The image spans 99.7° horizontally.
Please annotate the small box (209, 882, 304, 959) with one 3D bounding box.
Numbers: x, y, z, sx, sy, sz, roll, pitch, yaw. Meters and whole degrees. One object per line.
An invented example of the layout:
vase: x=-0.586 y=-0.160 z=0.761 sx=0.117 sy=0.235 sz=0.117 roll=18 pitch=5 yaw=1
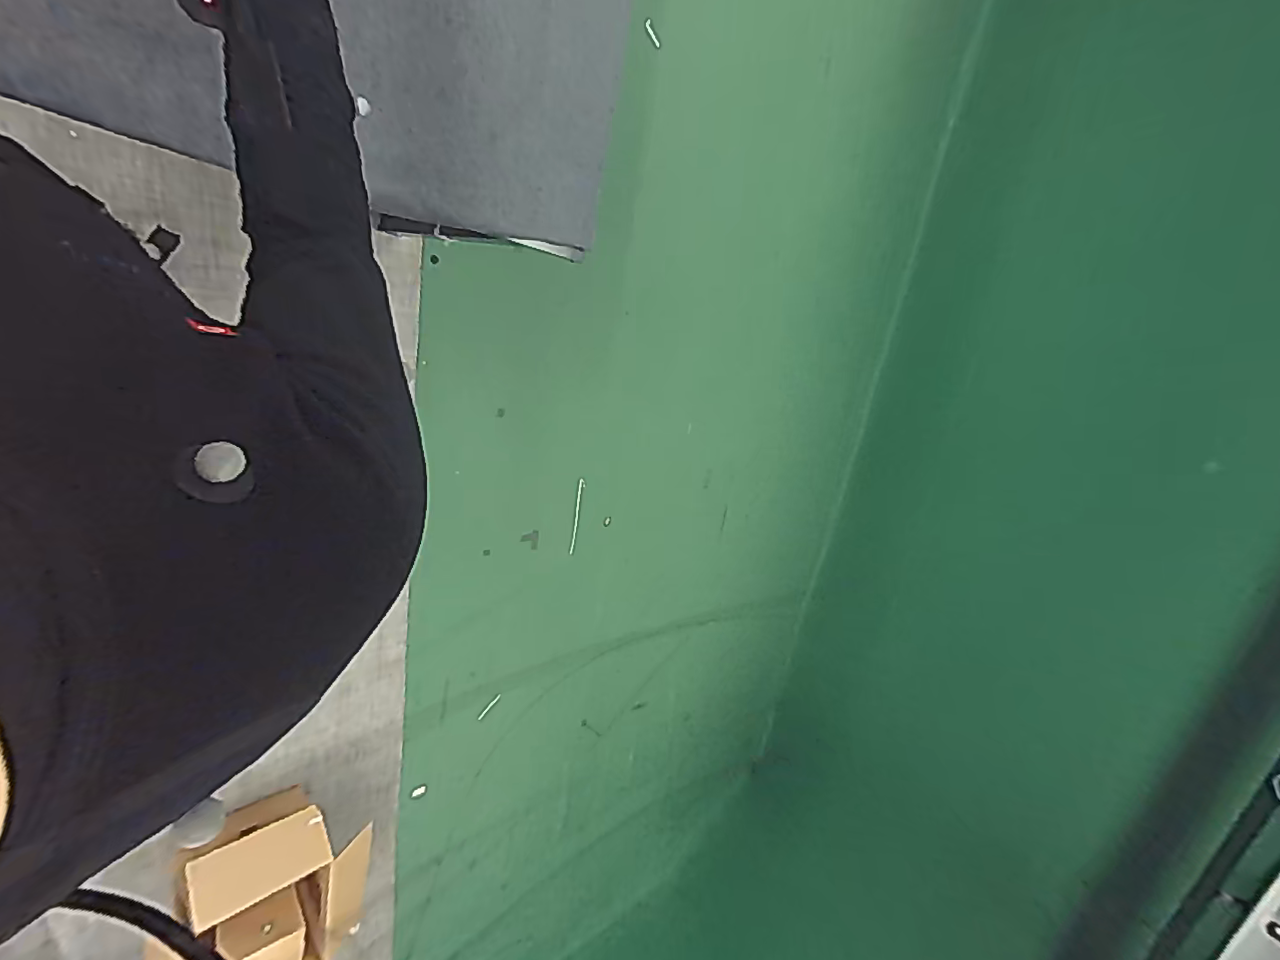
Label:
small box: x=-1.012 y=1.226 z=1.421 sx=0.179 sy=0.176 sz=0.168 roll=-3 pitch=111 yaw=-47
